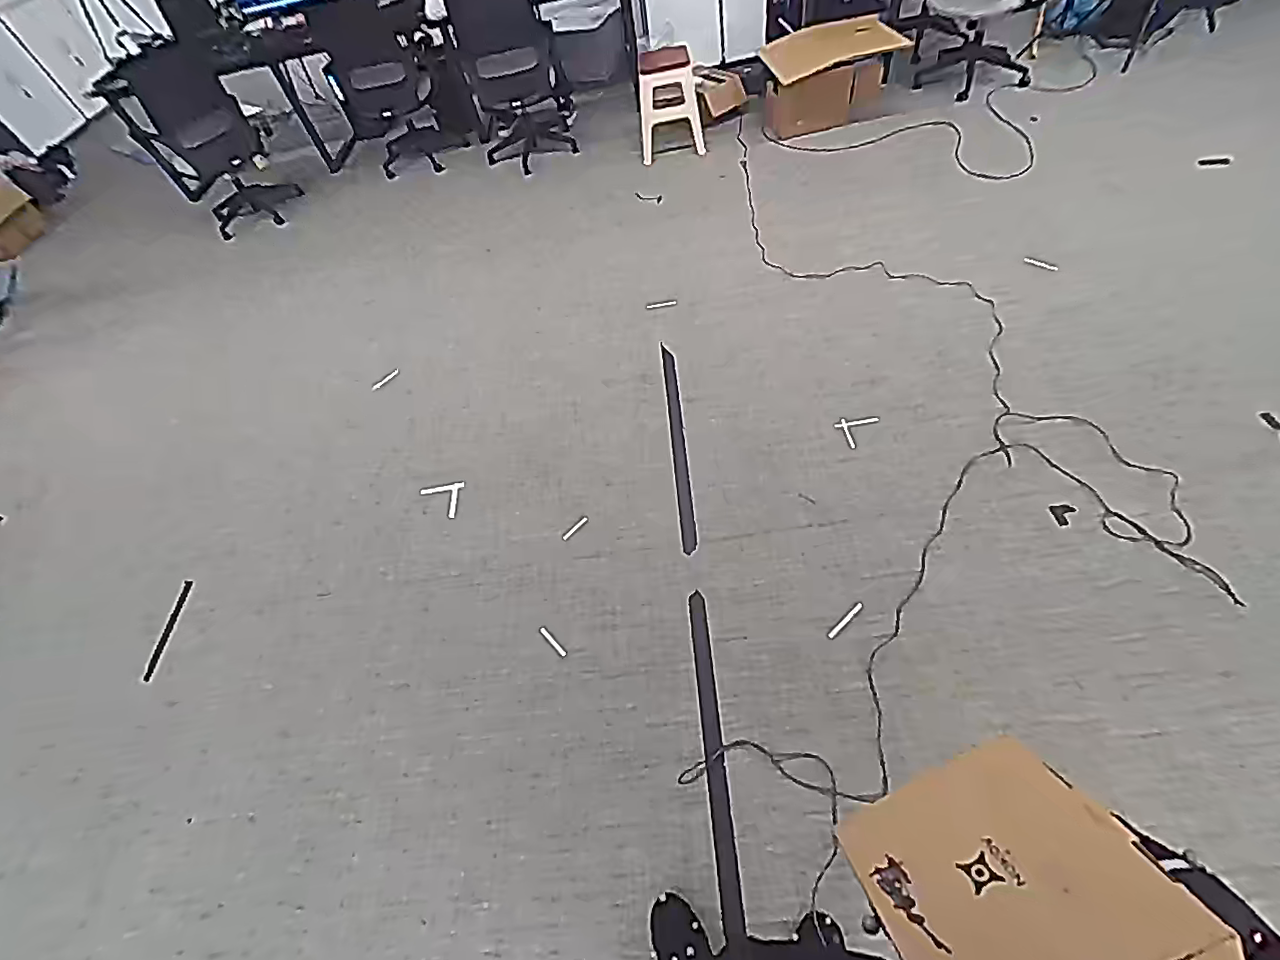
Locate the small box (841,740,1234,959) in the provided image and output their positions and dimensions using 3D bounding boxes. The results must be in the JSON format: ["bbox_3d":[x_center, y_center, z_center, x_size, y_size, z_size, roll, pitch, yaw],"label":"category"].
[{"bbox_3d":[0.294,0.353,0.416,0.179,0.176,0.168,-28,15,1],"label":"small box"}]
